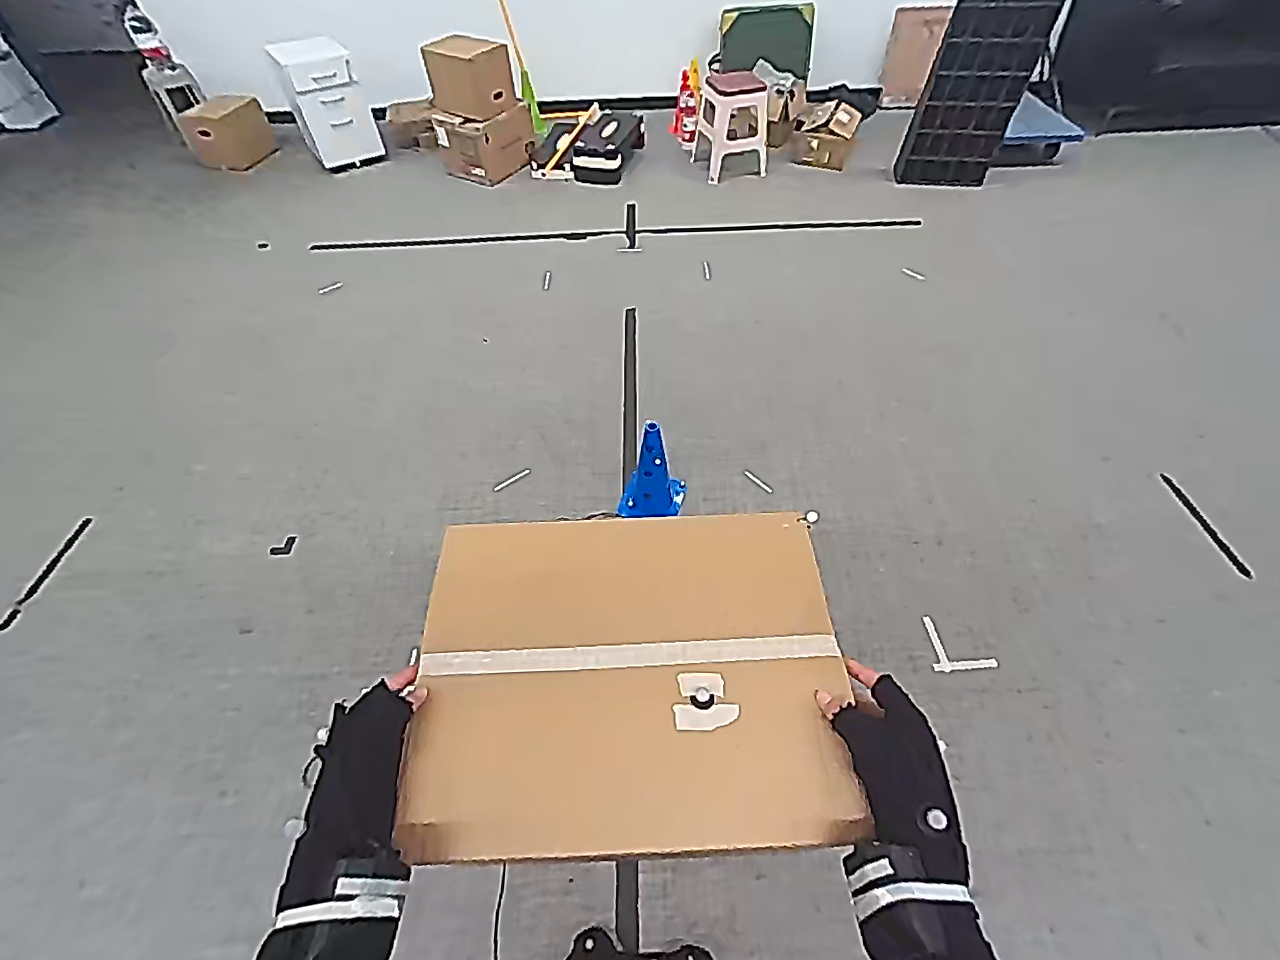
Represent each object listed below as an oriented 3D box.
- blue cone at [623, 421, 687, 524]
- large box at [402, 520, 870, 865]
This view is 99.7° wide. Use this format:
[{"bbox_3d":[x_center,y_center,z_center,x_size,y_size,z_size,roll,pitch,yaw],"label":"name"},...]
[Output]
[{"bbox_3d":[0.048,-0.038,1.728,0.193,0.380,0.192,15,53,13],"label":"blue cone"},{"bbox_3d":[-0.007,0.267,0.658,0.408,0.320,0.320,-2,54,0],"label":"large box"}]
